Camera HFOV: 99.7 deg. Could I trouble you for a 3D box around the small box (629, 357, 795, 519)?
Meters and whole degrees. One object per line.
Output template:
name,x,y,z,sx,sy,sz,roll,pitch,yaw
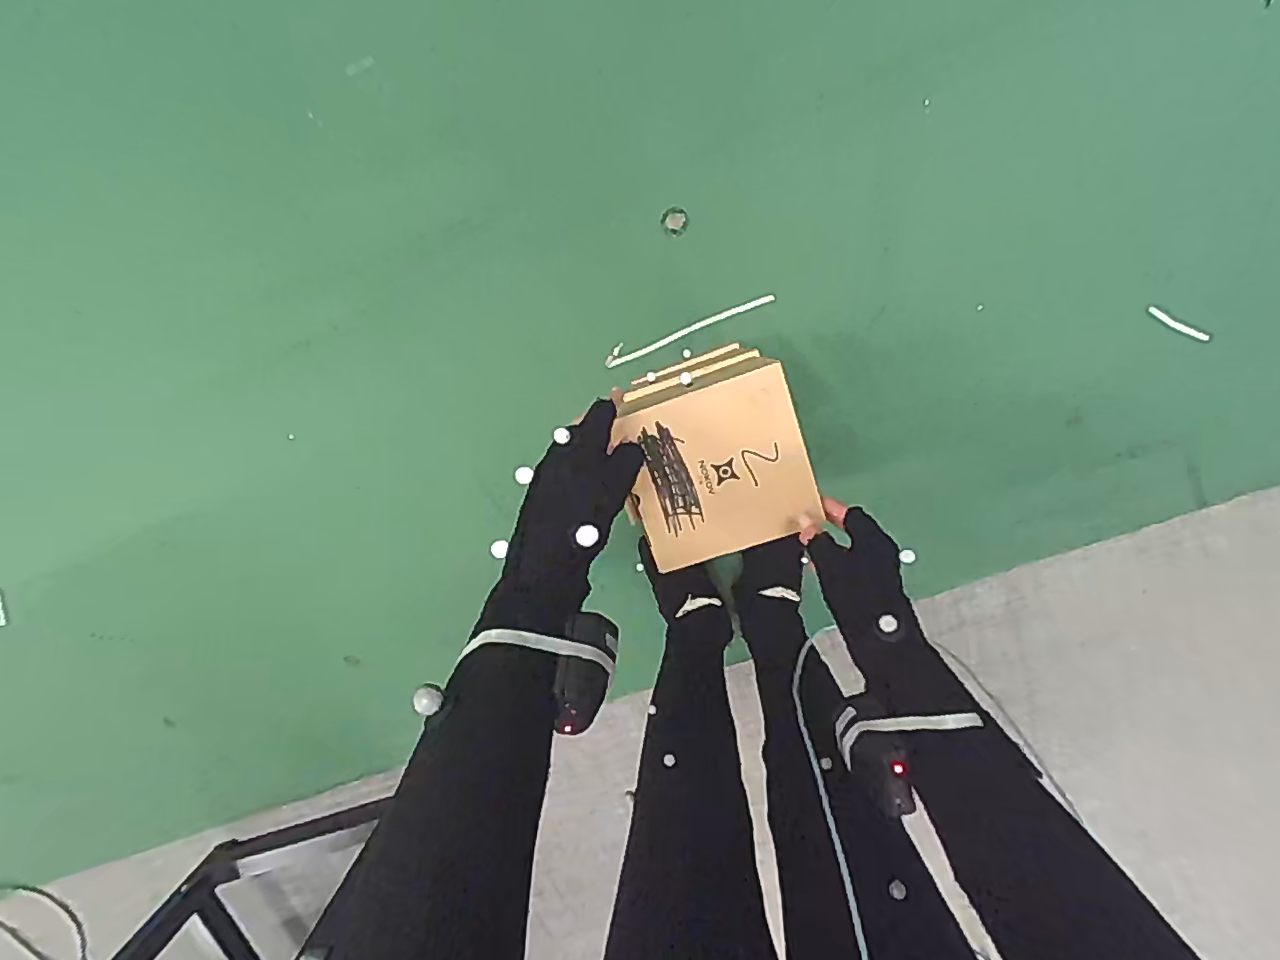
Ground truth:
small box,0.095,-0.068,0.754,0.179,0.176,0.168,-18,102,8

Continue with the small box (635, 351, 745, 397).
small box,0.101,-0.113,0.910,0.179,0.176,0.168,-19,102,8
